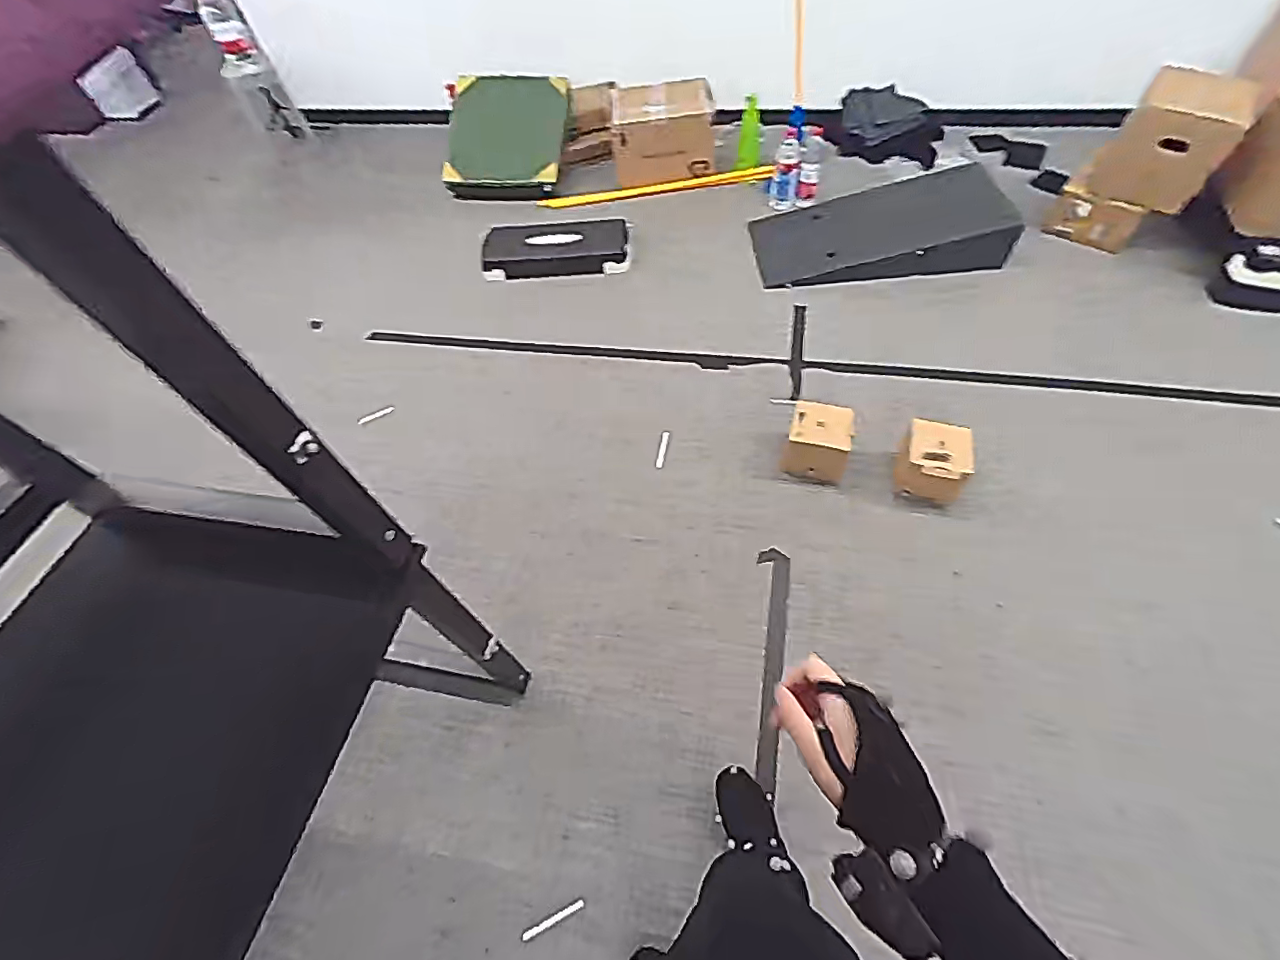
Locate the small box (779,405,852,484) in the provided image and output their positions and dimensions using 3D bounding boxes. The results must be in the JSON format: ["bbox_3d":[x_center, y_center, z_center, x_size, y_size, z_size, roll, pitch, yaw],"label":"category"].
[{"bbox_3d":[0.547,-0.106,1.694,0.179,0.176,0.168,13,57,12],"label":"small box"}]

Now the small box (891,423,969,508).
[{"bbox_3d":[0.866,-0.039,1.624,0.168,0.176,0.179,13,56,13],"label":"small box"}]
